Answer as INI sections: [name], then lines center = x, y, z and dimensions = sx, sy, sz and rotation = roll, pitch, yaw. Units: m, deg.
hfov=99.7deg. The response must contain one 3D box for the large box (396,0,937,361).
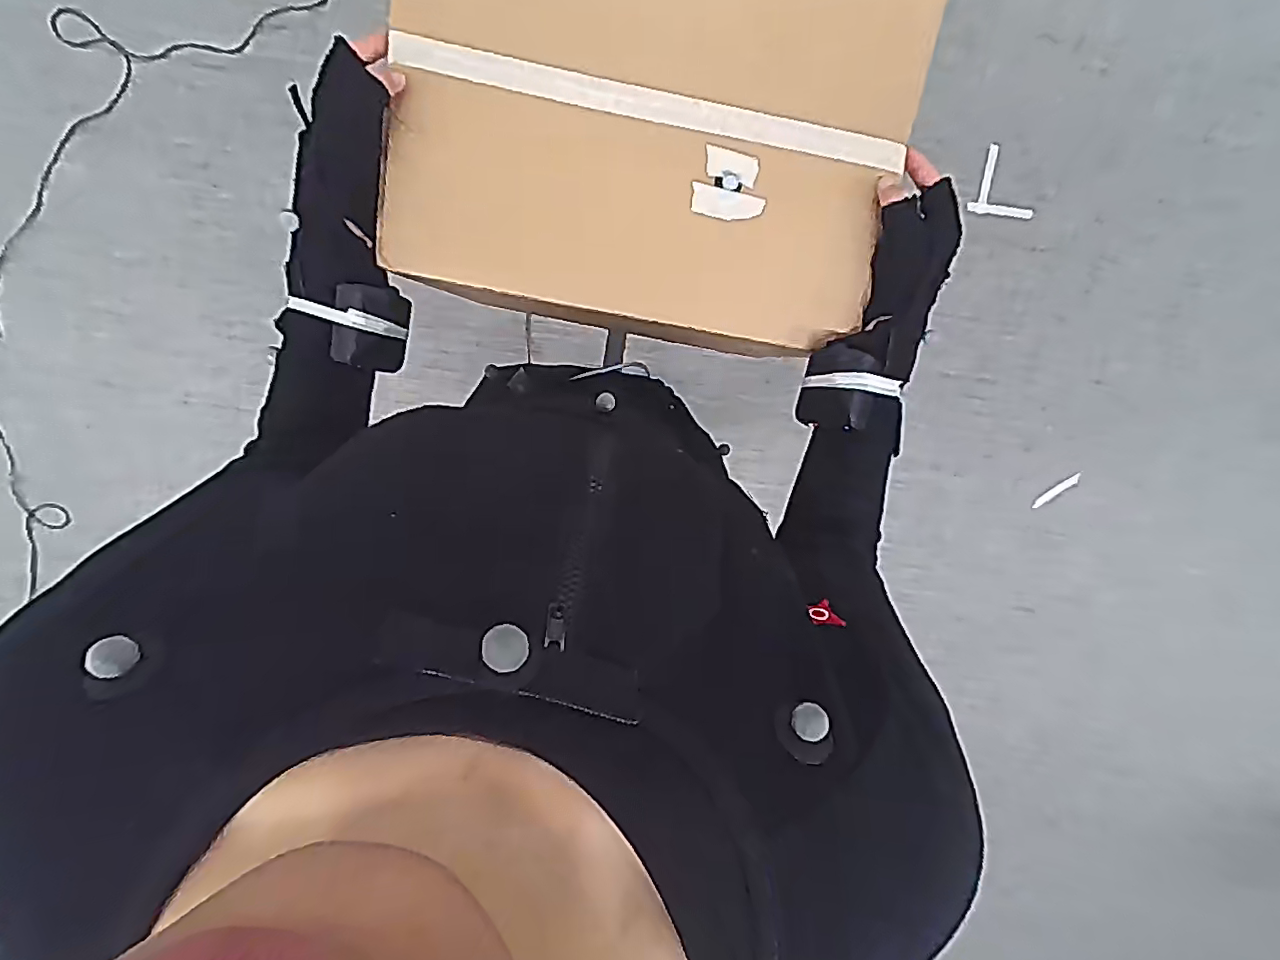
[large box]
center = 0.007, -0.314, 0.577
dimensions = 0.408, 0.320, 0.320
rotation = 9, 103, -6
